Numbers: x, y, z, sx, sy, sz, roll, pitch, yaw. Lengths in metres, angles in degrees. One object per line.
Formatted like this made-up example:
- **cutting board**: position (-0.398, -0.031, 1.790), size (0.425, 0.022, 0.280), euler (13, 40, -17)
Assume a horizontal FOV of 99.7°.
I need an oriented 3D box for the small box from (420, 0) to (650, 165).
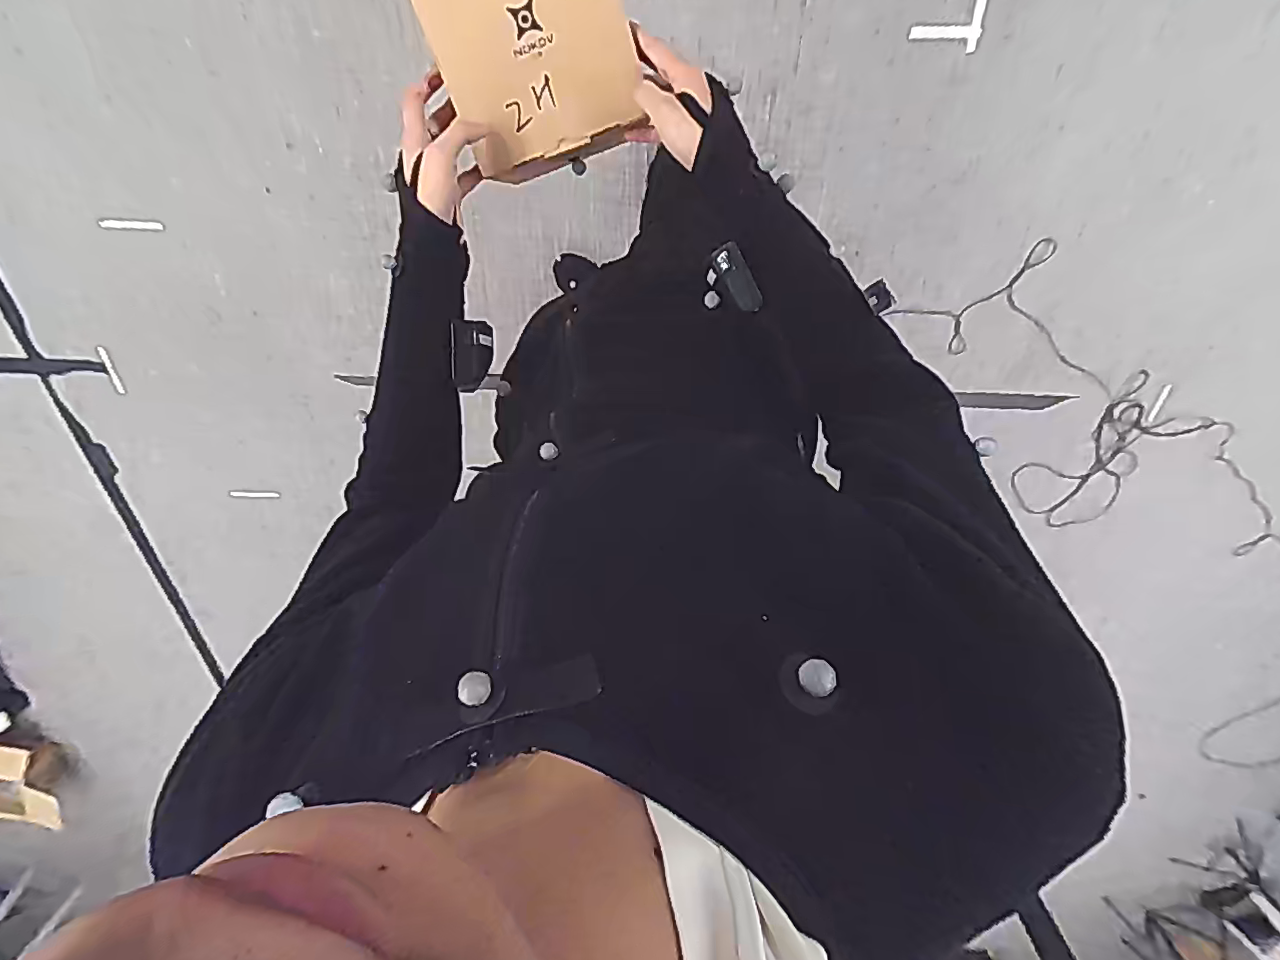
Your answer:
- **small box**: position (-0.096, -0.422, 0.508), size (0.168, 0.176, 0.179), euler (-17, 116, 7)
